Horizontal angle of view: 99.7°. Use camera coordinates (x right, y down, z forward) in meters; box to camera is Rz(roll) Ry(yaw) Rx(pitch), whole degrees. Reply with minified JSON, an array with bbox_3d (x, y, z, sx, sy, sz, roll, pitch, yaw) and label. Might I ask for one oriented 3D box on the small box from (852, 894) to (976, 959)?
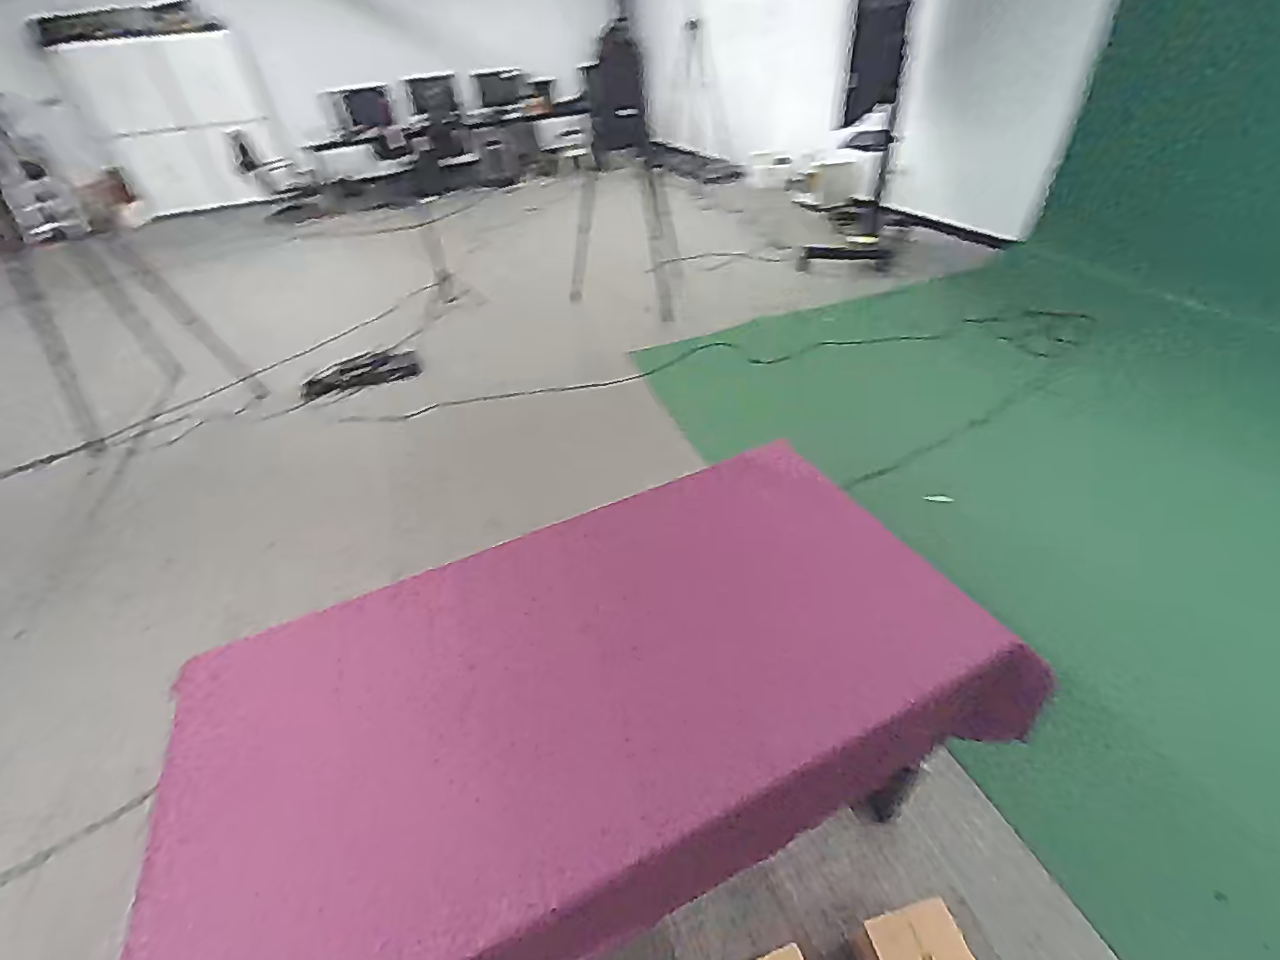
[{"bbox_3d":[0.527,0.927,1.019,0.168,0.176,0.179,-12,39,-7],"label":"small box"}]
